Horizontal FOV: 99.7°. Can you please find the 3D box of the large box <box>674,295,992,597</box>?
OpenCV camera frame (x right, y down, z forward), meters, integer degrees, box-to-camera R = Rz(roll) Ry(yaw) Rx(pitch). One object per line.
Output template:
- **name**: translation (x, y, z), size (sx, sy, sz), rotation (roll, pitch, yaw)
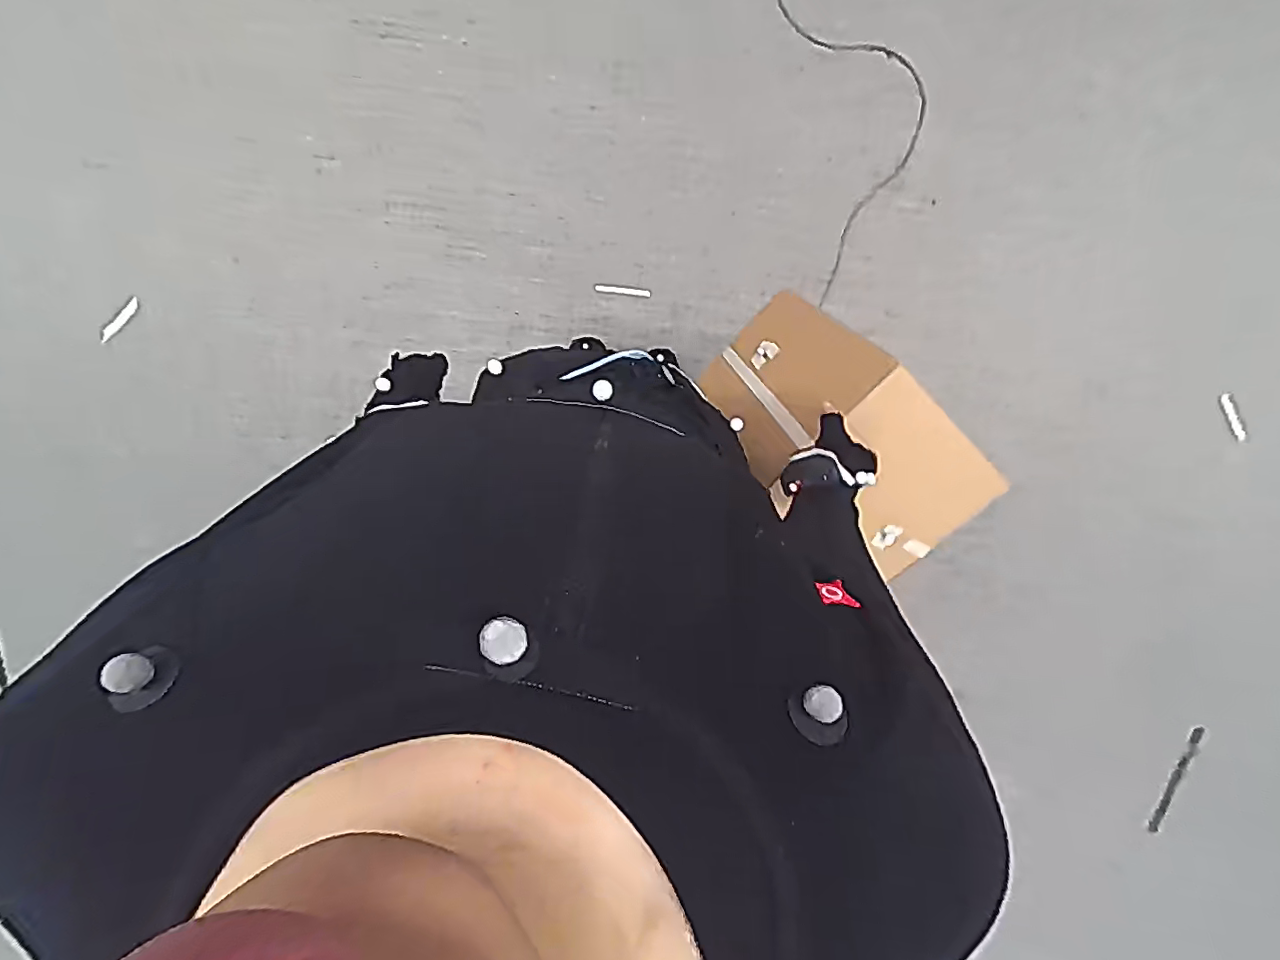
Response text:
- **large box**: translation (0.307, -0.073, 0.971), size (0.320, 0.408, 0.320), rotation (34, 111, -25)
